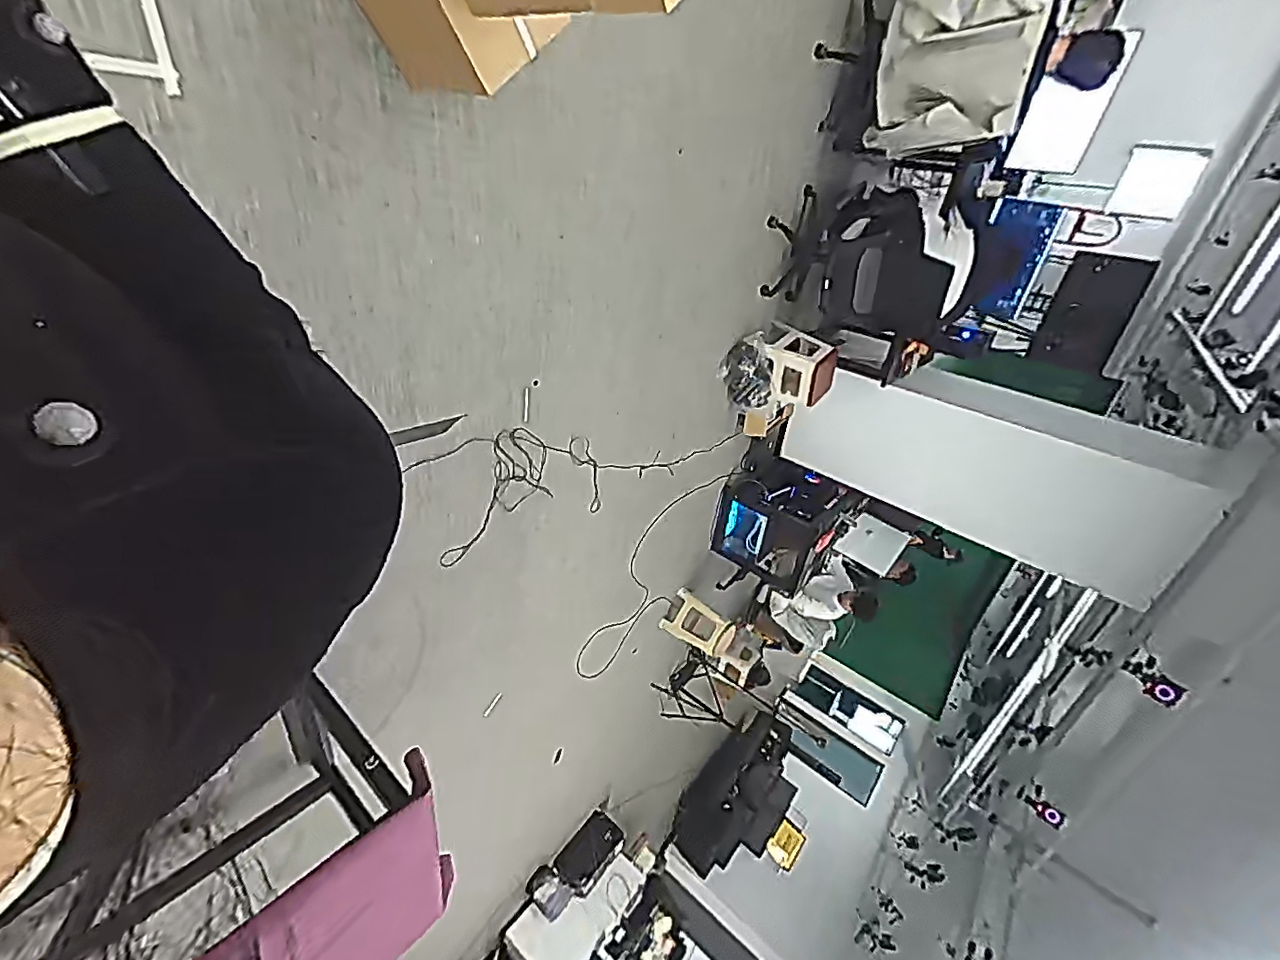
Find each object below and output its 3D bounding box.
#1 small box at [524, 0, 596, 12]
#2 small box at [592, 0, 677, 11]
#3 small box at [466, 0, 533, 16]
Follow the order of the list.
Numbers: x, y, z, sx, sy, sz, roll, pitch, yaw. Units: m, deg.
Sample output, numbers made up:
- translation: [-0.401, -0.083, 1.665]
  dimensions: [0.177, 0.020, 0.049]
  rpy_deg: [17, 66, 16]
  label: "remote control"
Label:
- translation: [-0.121, -0.946, 0.923]
  dimensions: [0.179, 0.176, 0.168]
  rpy_deg: [-55, 149, -13]
  label: "small box"
- translation: [0.004, -0.876, 0.845]
  dimensions: [0.179, 0.176, 0.168]
  rpy_deg: [-55, 149, -12]
  label: "small box"
- translation: [-0.248, -1.010, 1.005]
  dimensions: [0.179, 0.176, 0.168]
  rpy_deg: [-54, 149, -12]
  label: "small box"
